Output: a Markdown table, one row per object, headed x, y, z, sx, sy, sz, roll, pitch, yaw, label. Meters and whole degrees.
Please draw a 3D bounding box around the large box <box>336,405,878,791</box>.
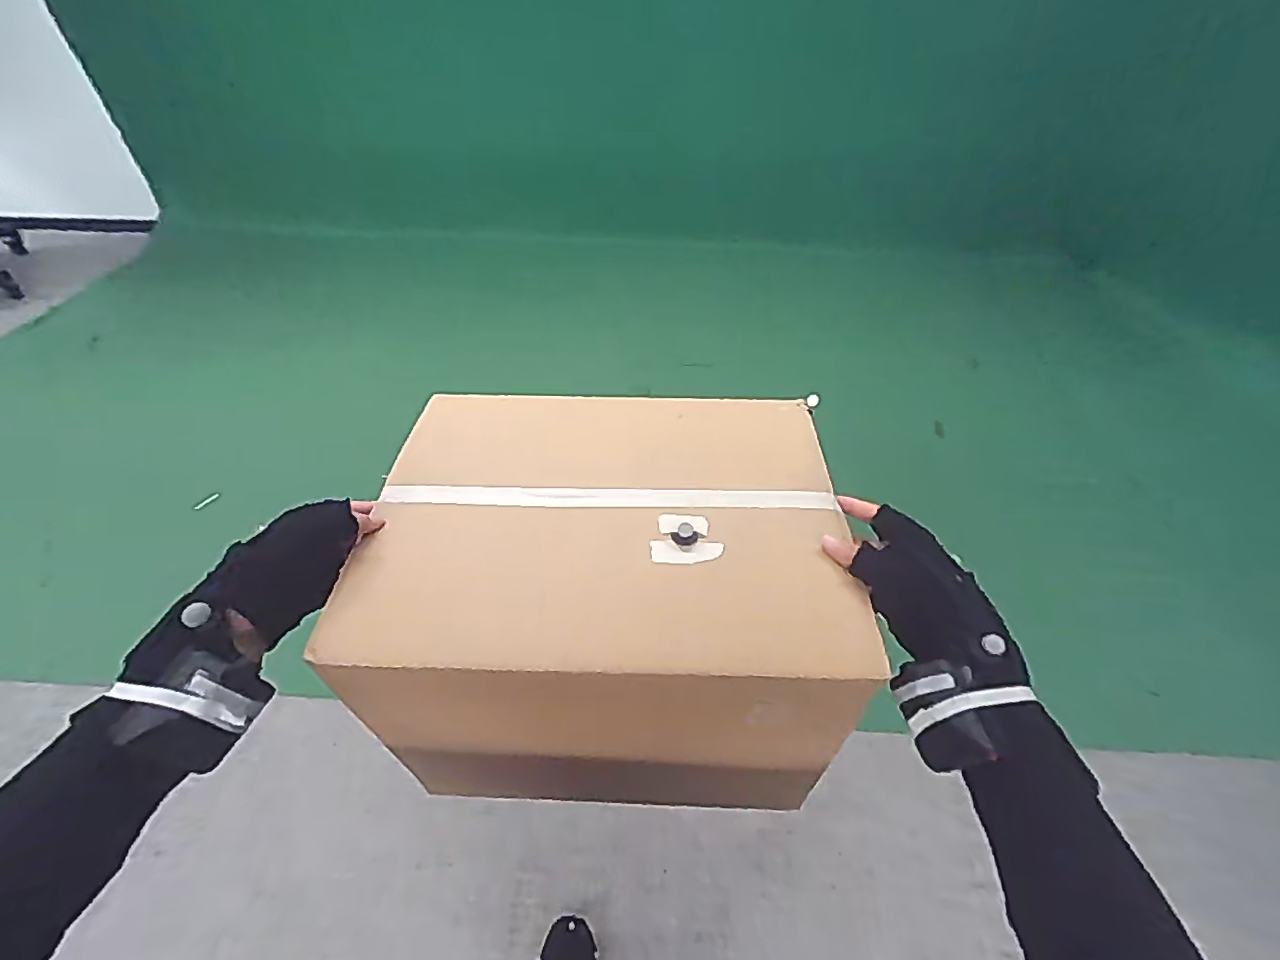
| x | y | z | sx | sy | sz | roll | pitch | yaw | label |
| --- | --- | --- | --- | --- | --- | --- | --- | --- | --- |
| -0.022 | 0.129 | 0.598 | 0.408 | 0.320 | 0.320 | 1 | 46 | 2 | large box |
